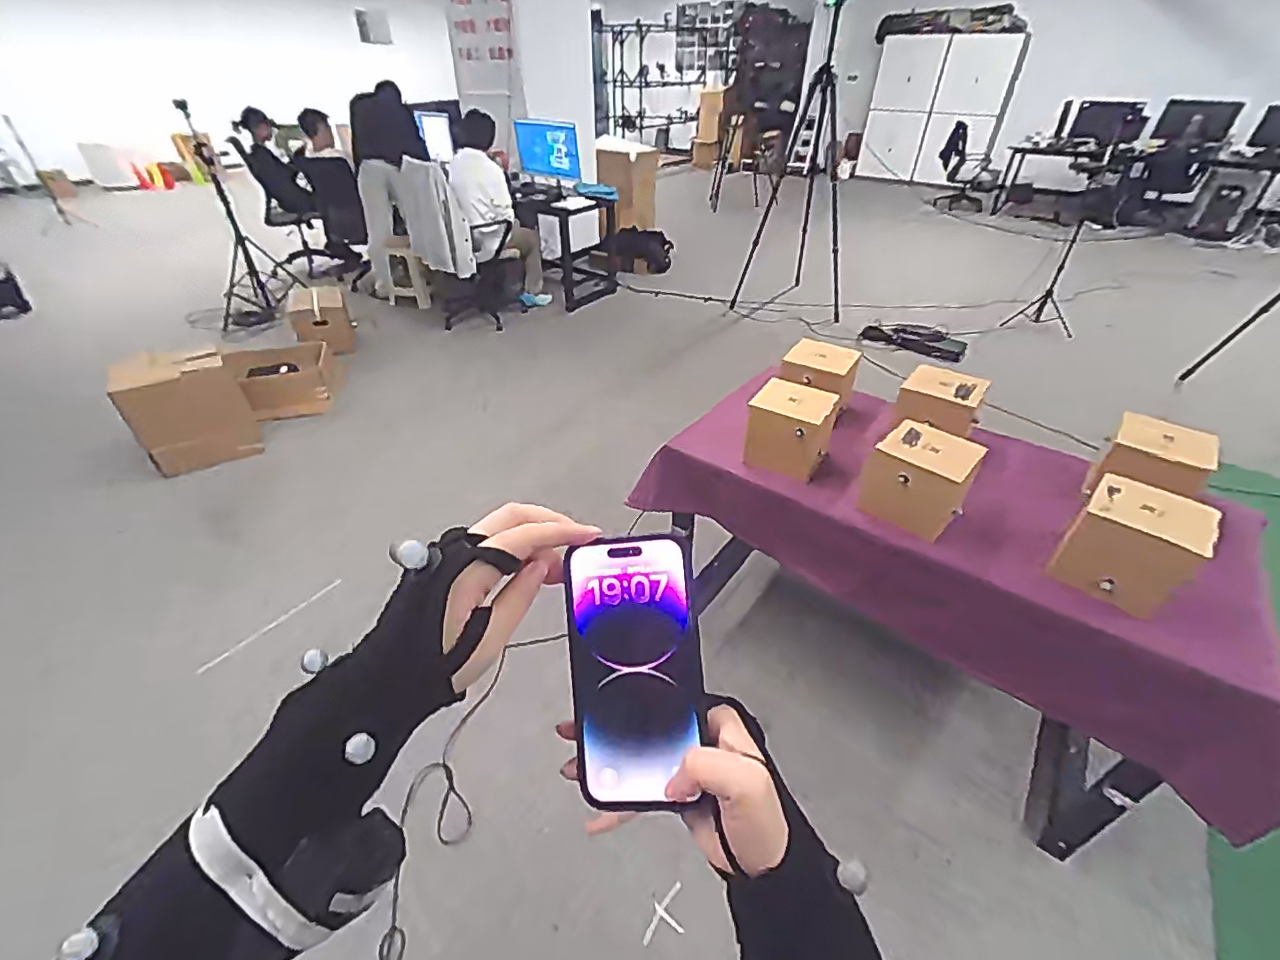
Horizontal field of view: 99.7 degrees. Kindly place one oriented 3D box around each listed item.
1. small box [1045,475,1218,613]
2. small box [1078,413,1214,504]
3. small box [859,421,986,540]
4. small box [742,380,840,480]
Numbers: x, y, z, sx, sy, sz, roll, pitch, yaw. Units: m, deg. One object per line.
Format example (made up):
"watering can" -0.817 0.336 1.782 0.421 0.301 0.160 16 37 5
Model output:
"small box" 0.920 0.124 1.022 0.179 0.176 0.168 32 47 34
"small box" 1.125 -0.020 1.210 0.168 0.176 0.179 28 46 32
"small box" 0.608 0.001 1.180 0.179 0.176 0.168 31 47 33
"small box" 0.369 -0.124 1.342 0.179 0.176 0.168 22 42 24
